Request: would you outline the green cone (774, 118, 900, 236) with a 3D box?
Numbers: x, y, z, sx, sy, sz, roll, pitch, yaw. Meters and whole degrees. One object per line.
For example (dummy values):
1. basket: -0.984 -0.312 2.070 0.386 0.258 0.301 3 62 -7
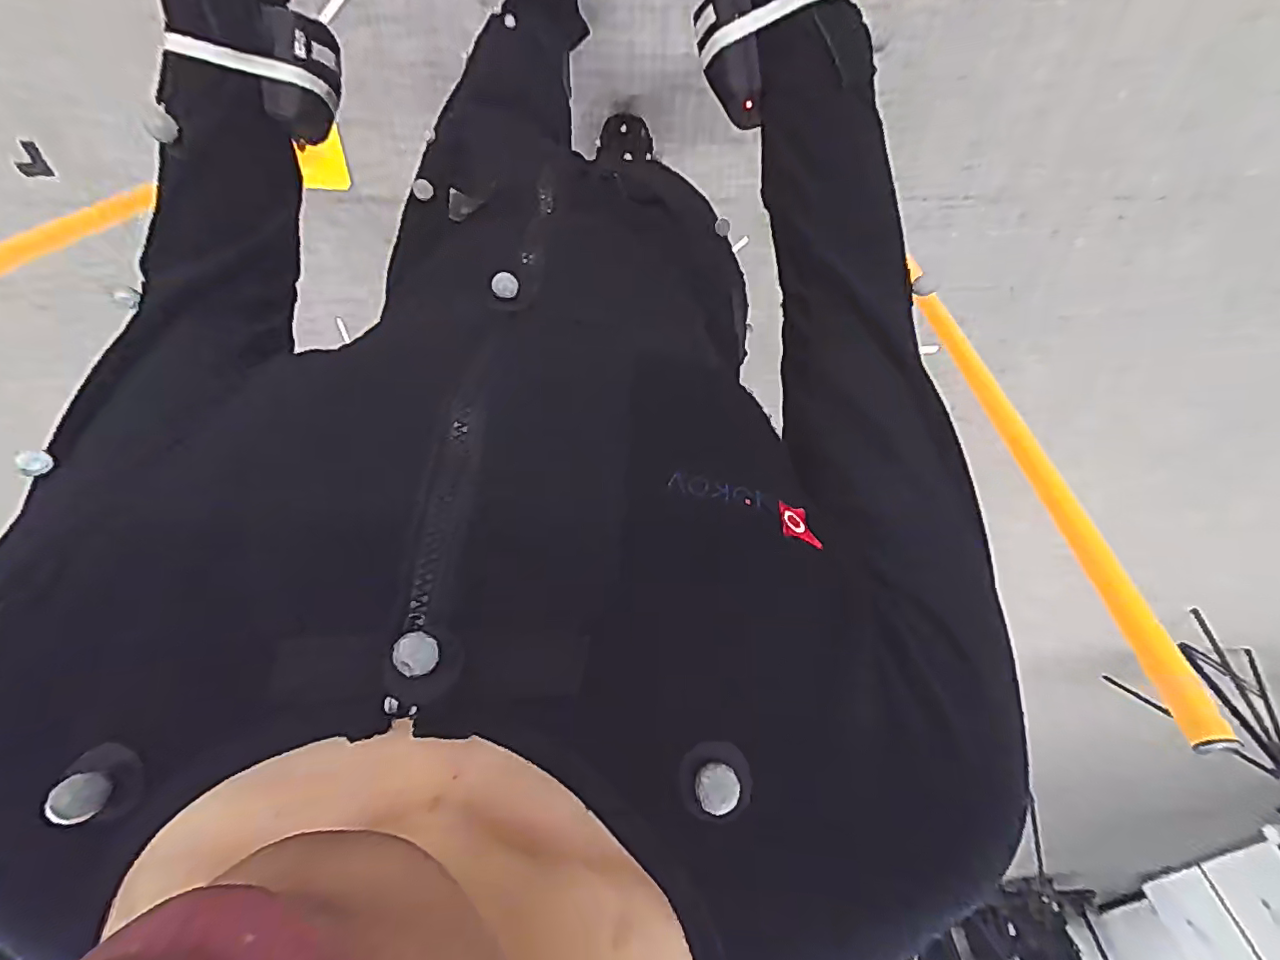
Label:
1. green cone: 0.416 -0.557 1.062 0.202 0.368 0.200 2 133 -5
